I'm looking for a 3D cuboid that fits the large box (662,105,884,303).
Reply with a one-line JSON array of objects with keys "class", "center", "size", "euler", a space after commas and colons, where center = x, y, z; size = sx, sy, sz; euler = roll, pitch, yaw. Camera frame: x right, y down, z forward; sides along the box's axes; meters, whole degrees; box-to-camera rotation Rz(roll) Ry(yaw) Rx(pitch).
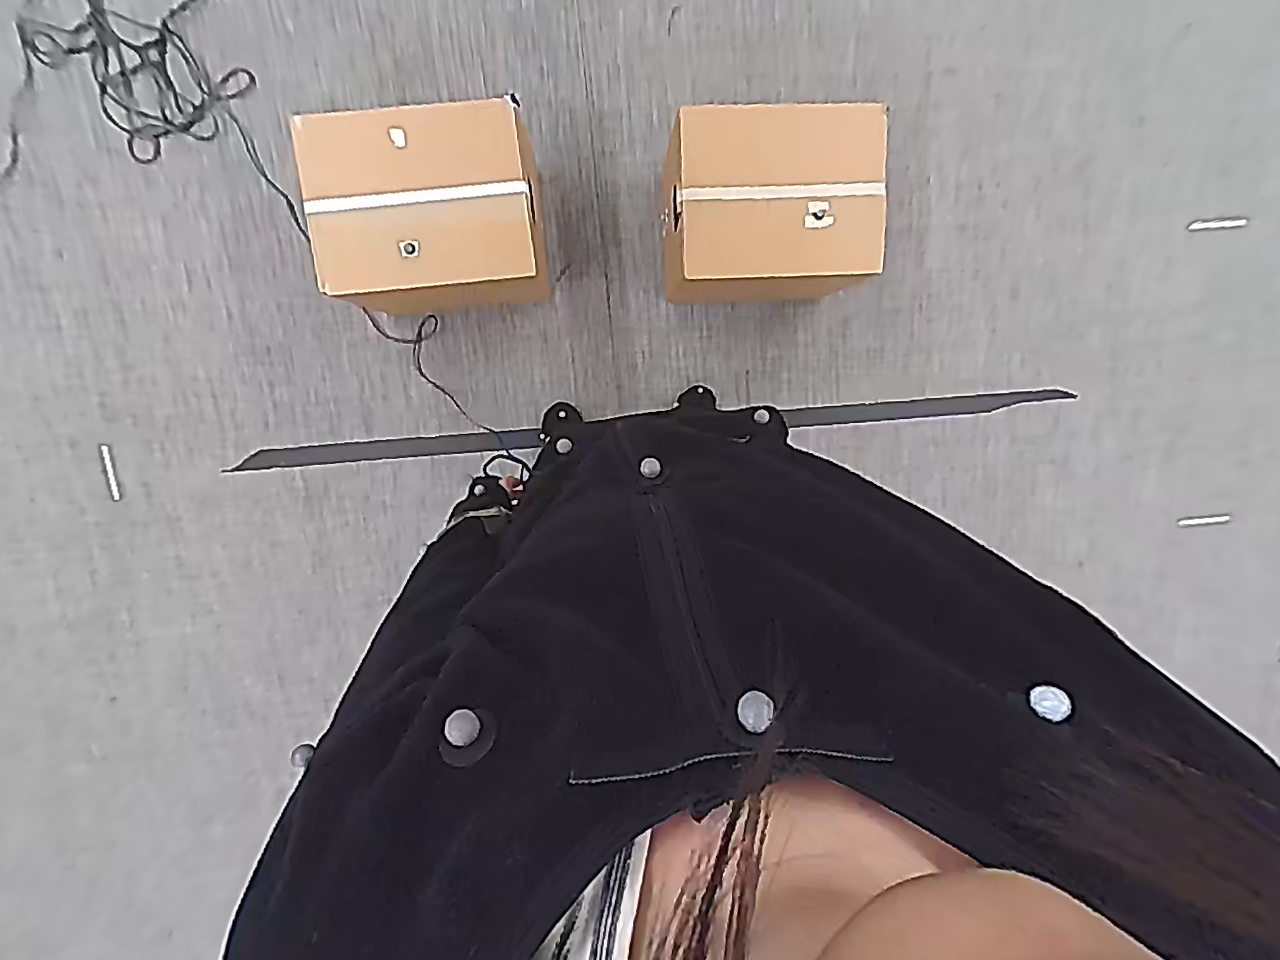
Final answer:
[{"class": "large box", "center": [0.269, -0.585, 1.201], "size": [0.408, 0.320, 0.320], "euler": [-3, 100, -4]}]
